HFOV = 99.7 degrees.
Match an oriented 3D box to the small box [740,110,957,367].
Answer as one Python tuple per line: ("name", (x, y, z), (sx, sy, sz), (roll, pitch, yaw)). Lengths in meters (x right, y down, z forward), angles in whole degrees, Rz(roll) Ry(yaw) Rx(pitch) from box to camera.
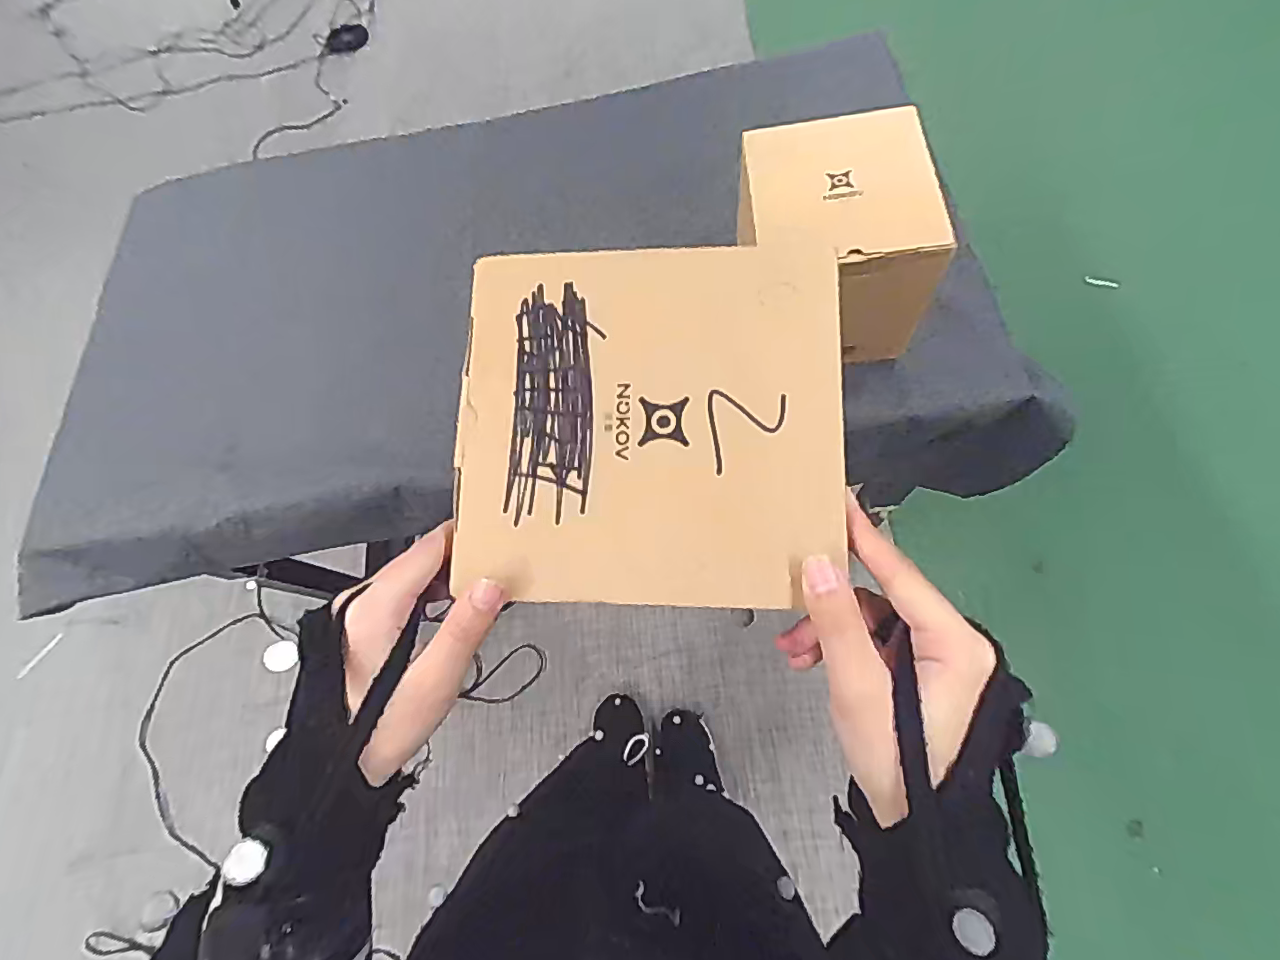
("small box", (0.198, -0.243, 0.573), (0.168, 0.176, 0.179), (-5, 69, 7))
